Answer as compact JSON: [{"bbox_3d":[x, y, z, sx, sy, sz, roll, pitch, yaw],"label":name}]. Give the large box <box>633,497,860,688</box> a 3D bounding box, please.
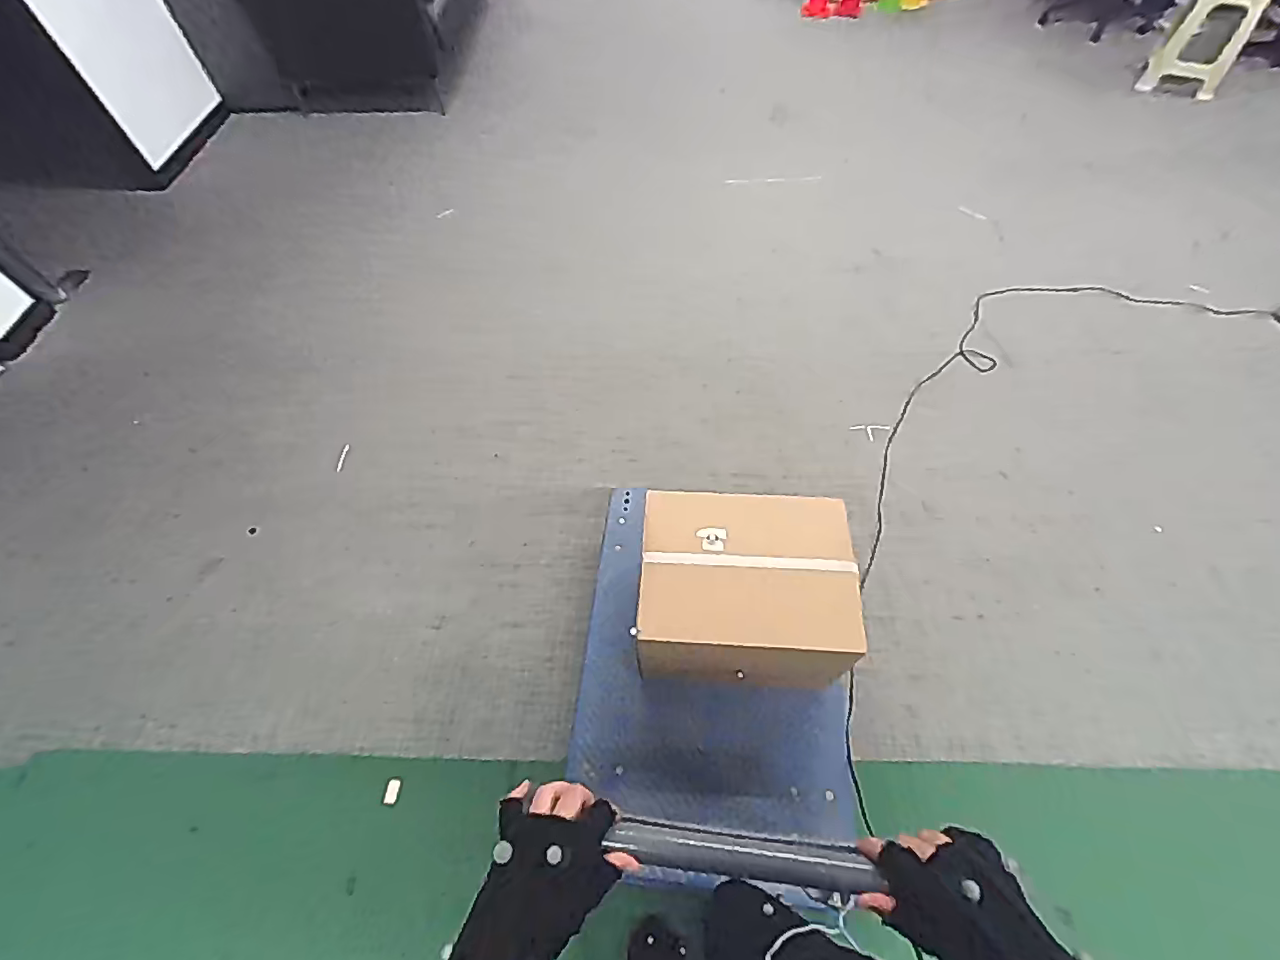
[{"bbox_3d":[0.204,0.247,1.153,0.408,0.320,0.320,2,56,5],"label":"large box"}]
